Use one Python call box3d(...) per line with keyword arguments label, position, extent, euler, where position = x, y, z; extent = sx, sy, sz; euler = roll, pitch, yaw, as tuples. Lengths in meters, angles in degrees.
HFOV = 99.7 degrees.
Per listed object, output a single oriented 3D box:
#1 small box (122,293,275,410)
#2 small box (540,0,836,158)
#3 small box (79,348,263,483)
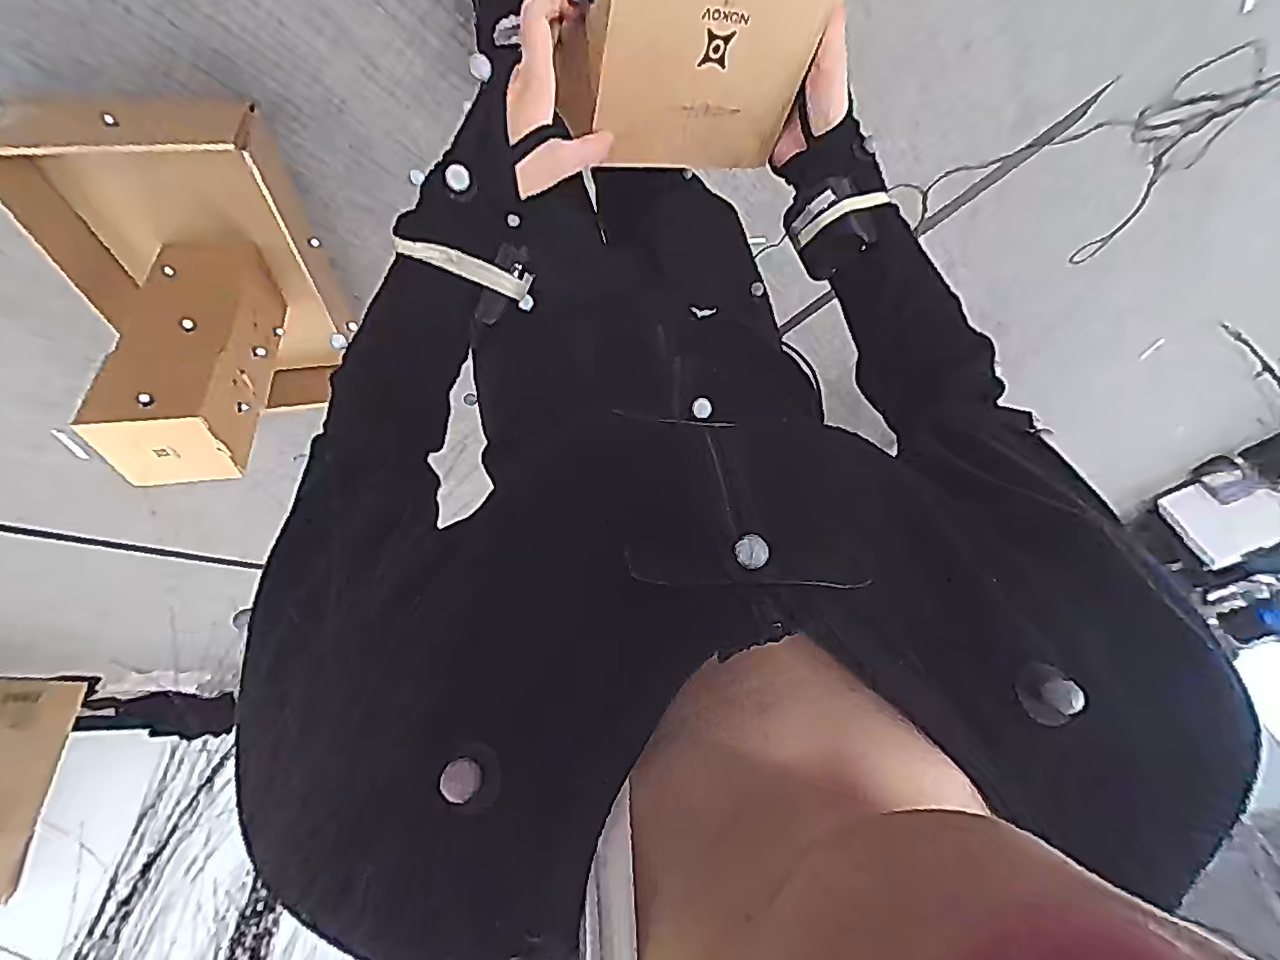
box3d(label="small box", position=(-0.838, -0.246, 1.052), extent=(0.179, 0.176, 0.168), euler=(-6, 146, -14))
box3d(label="small box", position=(0.029, -0.375, 0.402), extent=(0.168, 0.176, 0.179), euler=(-12, 154, -21))
box3d(label="small box", position=(-0.809, -0.117, 0.957), extent=(0.179, 0.176, 0.168), euler=(-7, 146, -13))
